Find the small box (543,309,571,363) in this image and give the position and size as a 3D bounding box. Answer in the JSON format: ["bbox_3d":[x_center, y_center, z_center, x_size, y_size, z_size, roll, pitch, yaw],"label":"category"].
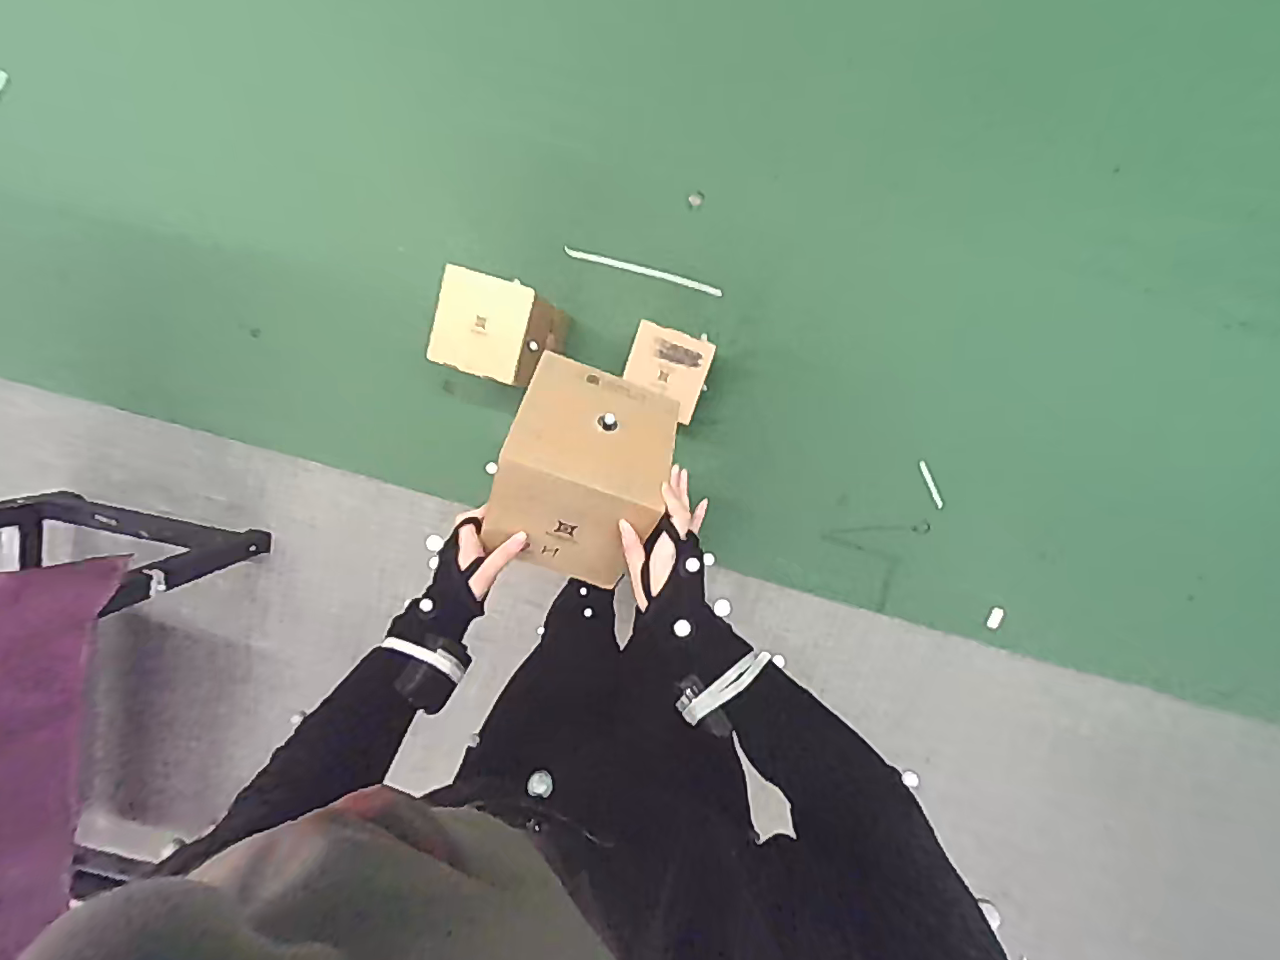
[{"bbox_3d":[-0.267,-0.312,1.214,0.179,0.176,0.168,17,99,2],"label":"small box"}]

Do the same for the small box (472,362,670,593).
[{"bbox_3d":[-0.073,-0.003,0.615,0.168,0.176,0.179,20,138,-10],"label":"small box"}]

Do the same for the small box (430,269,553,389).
[{"bbox_3d":[-0.278,-0.284,1.054,0.168,0.176,0.179,18,100,1],"label":"small box"}]
